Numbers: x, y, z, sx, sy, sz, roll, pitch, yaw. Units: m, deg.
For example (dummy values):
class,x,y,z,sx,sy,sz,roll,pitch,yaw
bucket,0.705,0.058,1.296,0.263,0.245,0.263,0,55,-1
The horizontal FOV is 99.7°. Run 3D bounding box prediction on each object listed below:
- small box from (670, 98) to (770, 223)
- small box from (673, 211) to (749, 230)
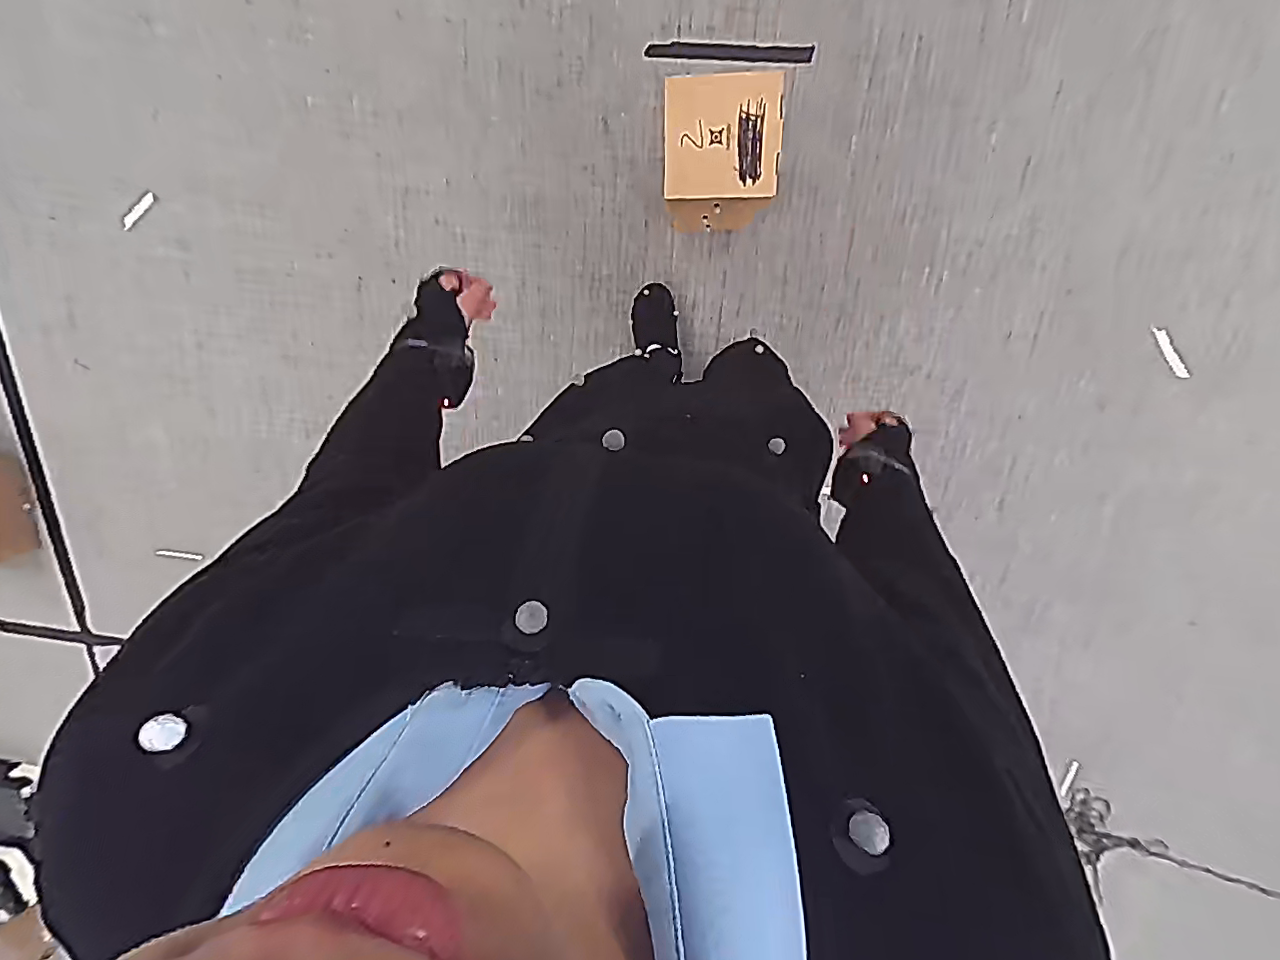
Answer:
class,x,y,z,sx,sy,sz,roll,pitch,yaw
small box,0.146,-0.602,1.035,0.168,0.176,0.179,4,110,4
small box,0.160,-0.654,1.188,0.168,0.176,0.179,2,109,4
